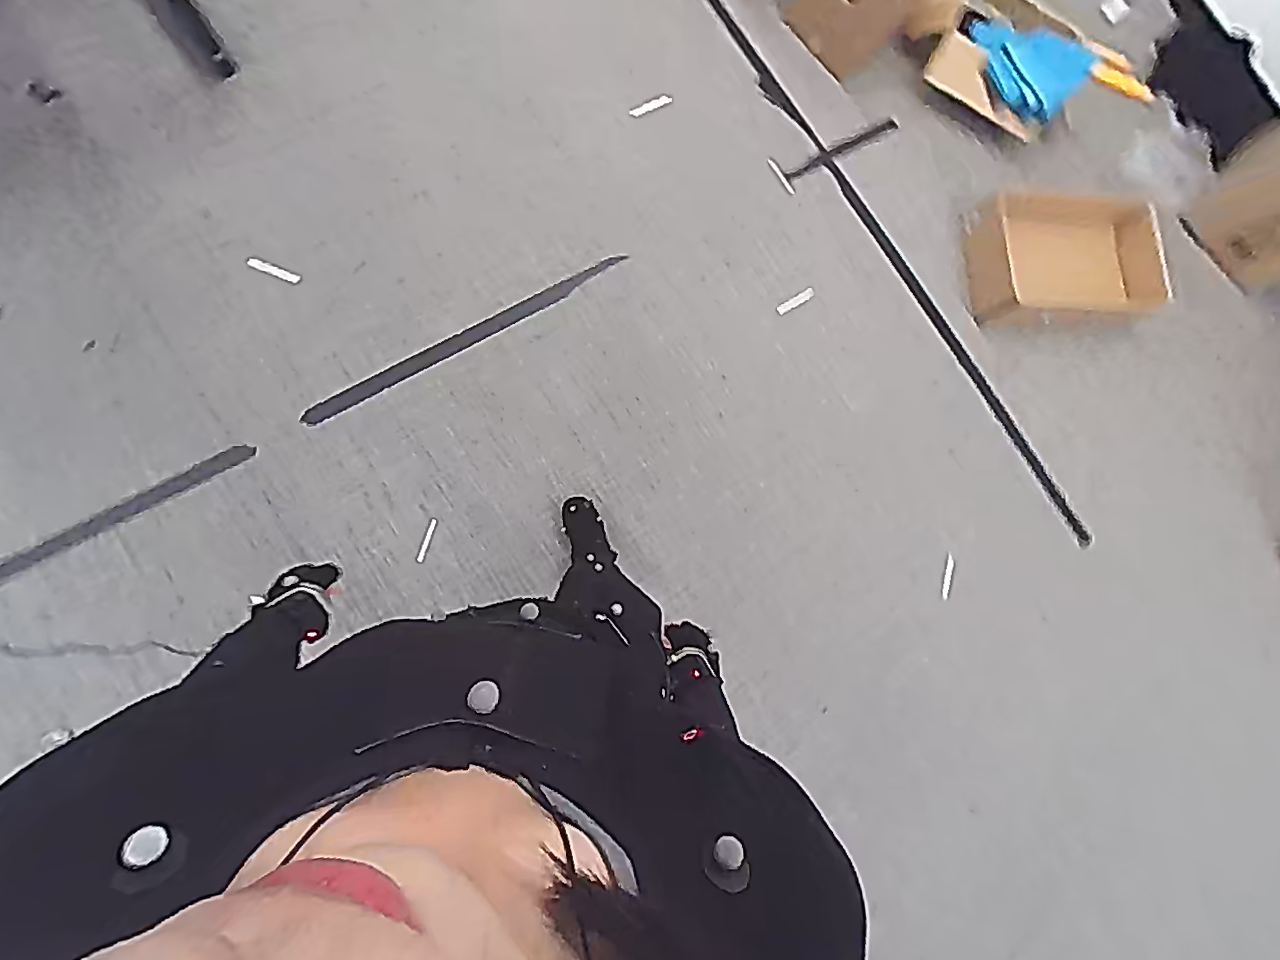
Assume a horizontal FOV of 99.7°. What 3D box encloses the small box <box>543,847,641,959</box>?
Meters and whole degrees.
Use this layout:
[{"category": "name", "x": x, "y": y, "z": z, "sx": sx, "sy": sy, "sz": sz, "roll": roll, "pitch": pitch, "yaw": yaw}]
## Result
[{"category": "small box", "x": -0.120, "y": 1.056, "z": 1.319, "sx": 0.168, "sy": 0.176, "sz": 0.179, "roll": -33, "pitch": 88, "yaw": -14}]
